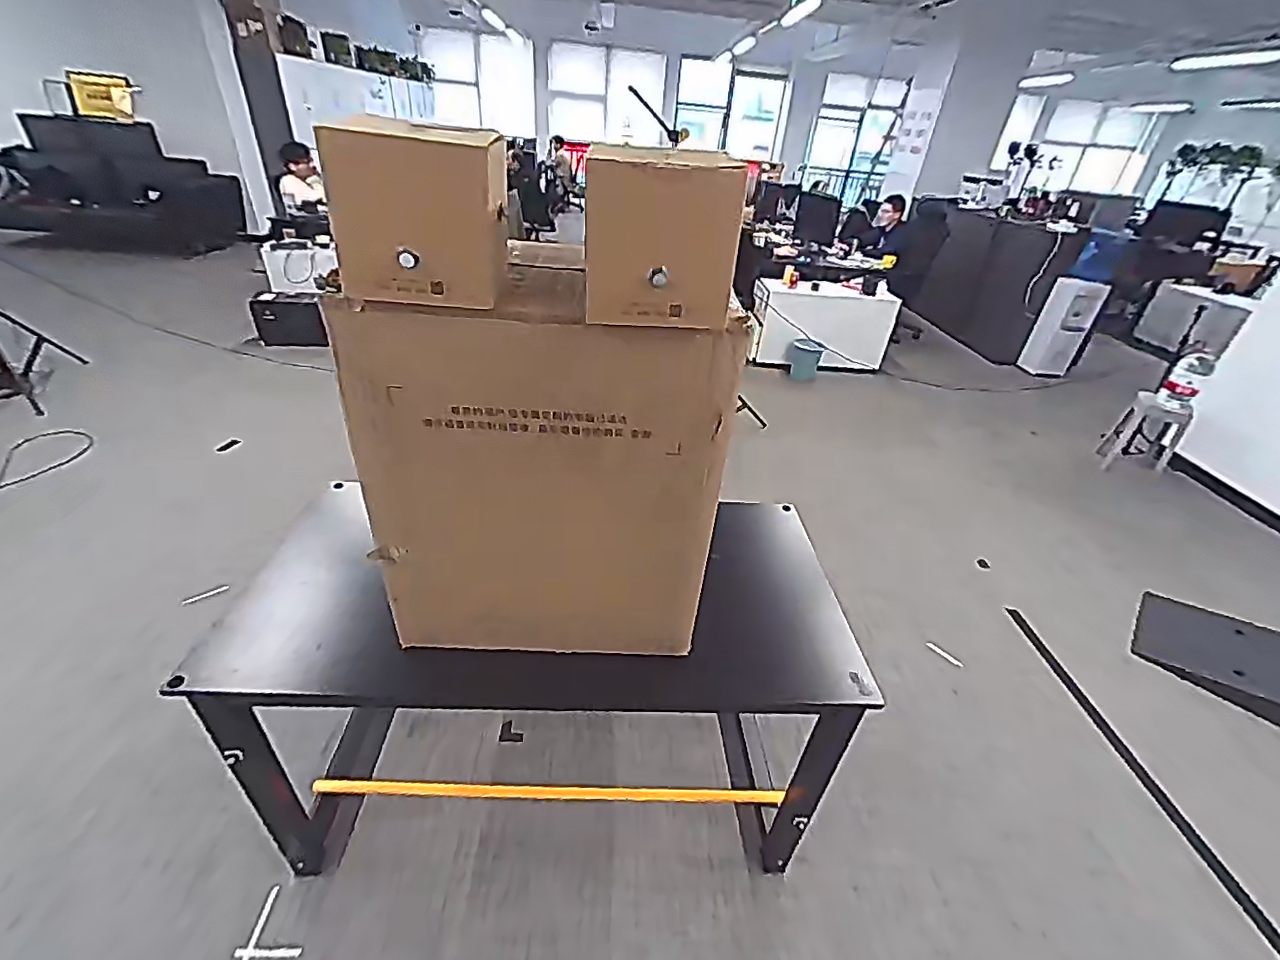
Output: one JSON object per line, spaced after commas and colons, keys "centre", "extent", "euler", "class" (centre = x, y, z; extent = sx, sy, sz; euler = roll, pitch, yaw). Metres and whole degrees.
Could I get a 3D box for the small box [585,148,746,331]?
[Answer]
{"centre": [0.020, -0.293, 0.655], "extent": [0.168, 0.176, 0.179], "euler": [1, 35, -3], "class": "small box"}
